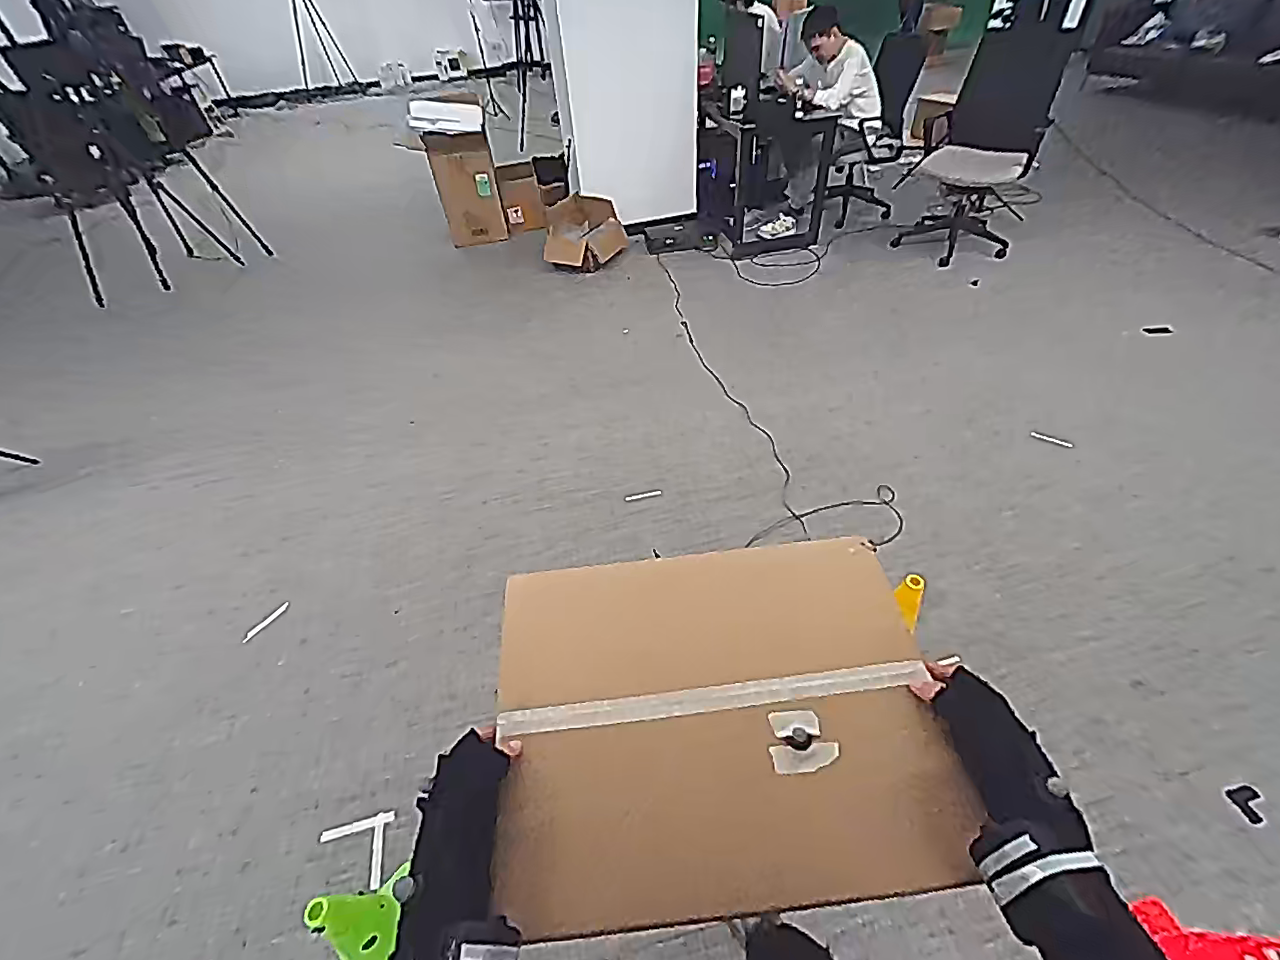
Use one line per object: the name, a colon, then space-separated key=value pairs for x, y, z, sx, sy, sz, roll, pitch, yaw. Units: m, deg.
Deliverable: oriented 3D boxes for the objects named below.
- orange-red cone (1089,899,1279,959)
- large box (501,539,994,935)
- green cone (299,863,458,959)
orange-red cone: x=0.995 y=0.822 z=0.918 sx=0.198 sy=0.360 sz=0.199 roll=-13 pitch=43 yaw=-8
large box: x=0.077 y=0.301 z=0.629 sx=0.408 sy=0.320 sz=0.320 roll=-6 pitch=51 yaw=-1
green cone: x=-0.537 y=0.863 z=1.044 sx=0.200 sy=0.368 sz=0.202 roll=27 pitch=55 yaw=30
